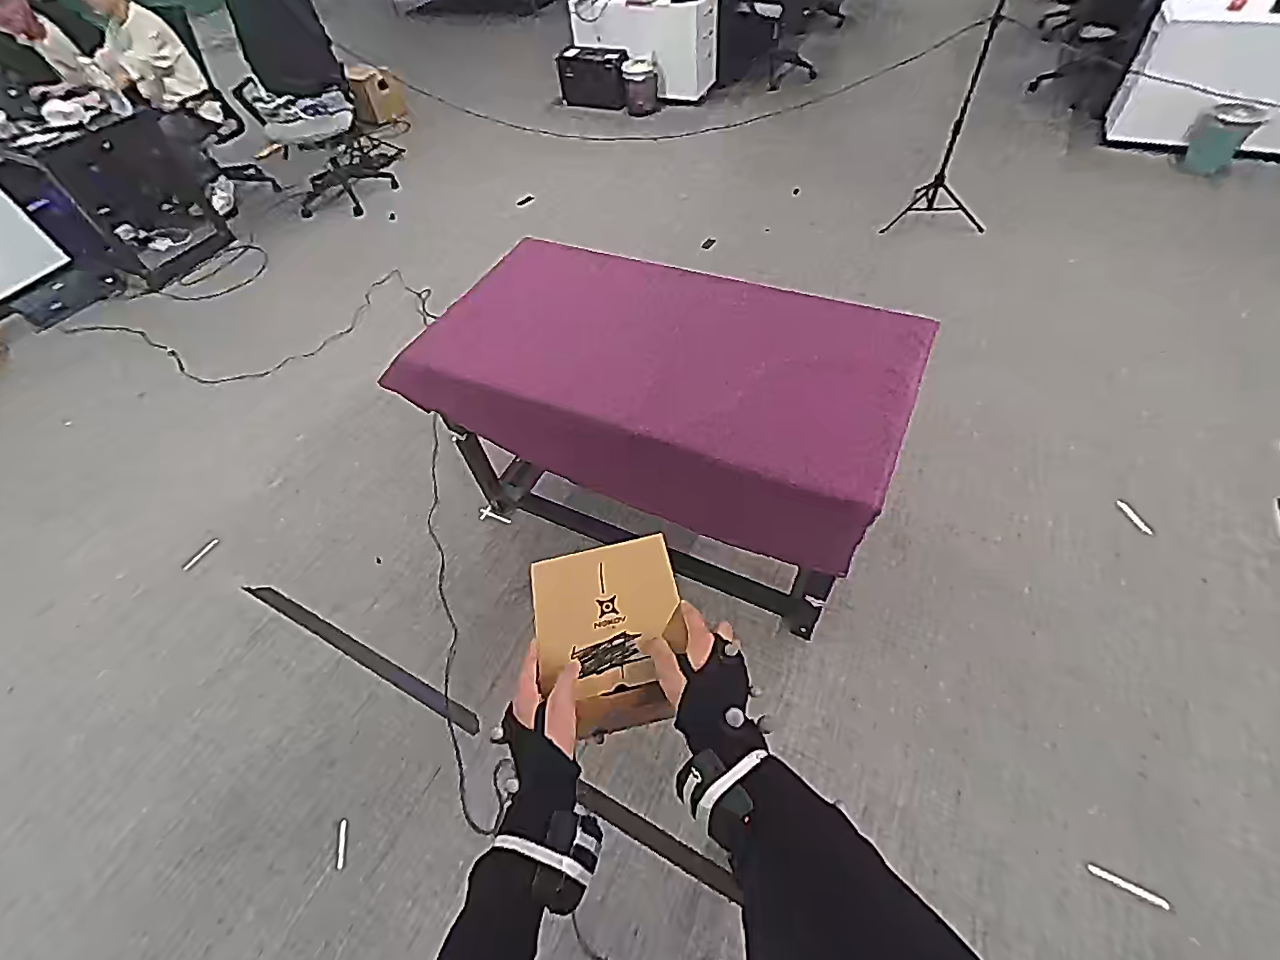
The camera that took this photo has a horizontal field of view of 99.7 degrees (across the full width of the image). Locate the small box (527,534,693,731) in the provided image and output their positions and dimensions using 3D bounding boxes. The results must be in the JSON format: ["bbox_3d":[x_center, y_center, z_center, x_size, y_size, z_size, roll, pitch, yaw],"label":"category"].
[{"bbox_3d":[-0.033,0.196,0.671,0.168,0.176,0.179,-13,53,-2],"label":"small box"}]
